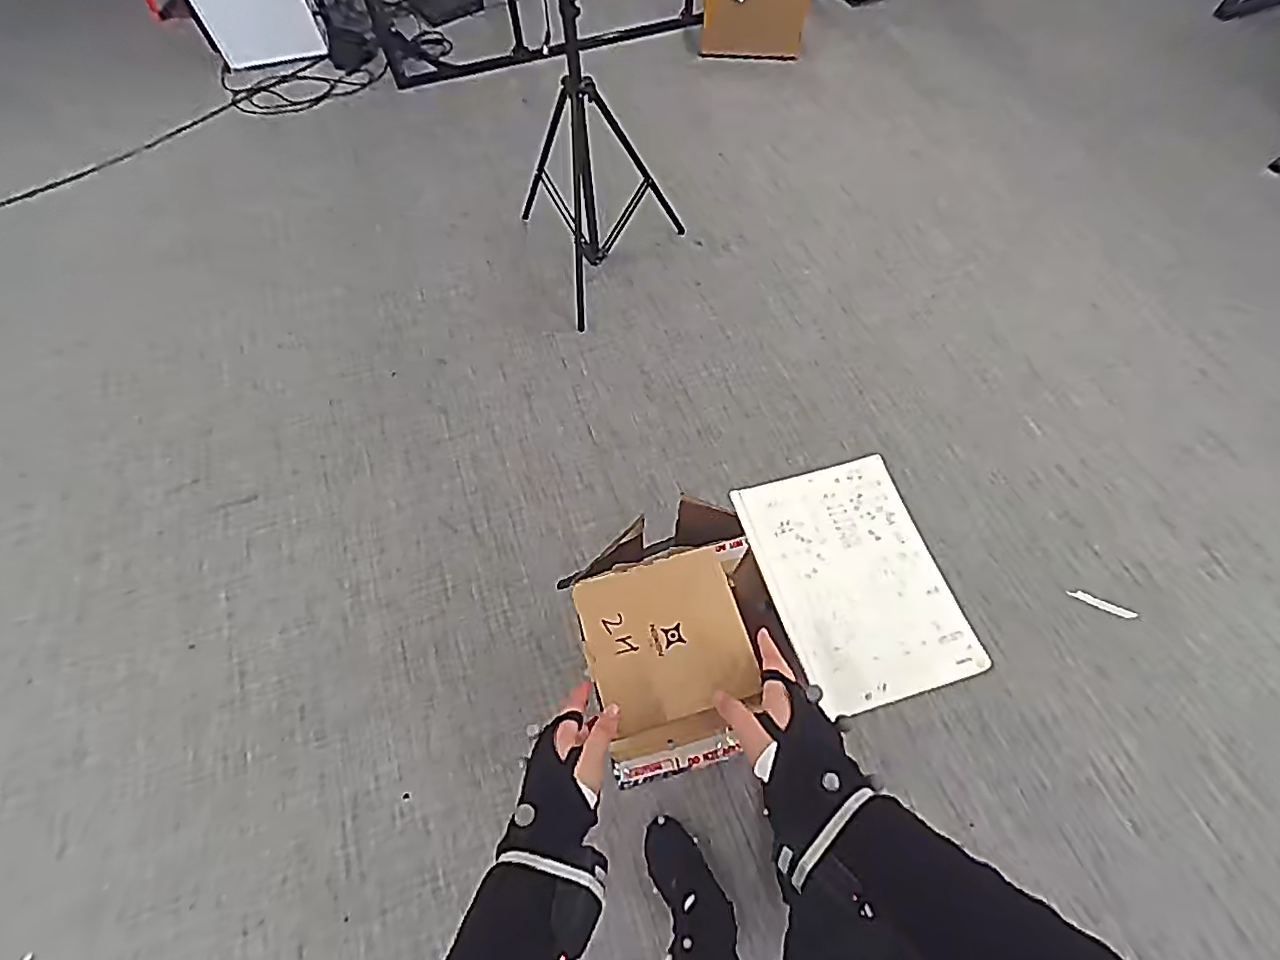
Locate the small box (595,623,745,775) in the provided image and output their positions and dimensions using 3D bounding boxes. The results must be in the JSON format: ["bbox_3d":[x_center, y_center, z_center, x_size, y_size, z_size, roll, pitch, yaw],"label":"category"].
[{"bbox_3d":[0.038,0.321,0.802,0.179,0.176,0.168,-12,66,-3],"label":"small box"}]

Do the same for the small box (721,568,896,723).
[{"bbox_3d":[0.244,0.258,0.831,0.179,0.176,0.168,-19,66,-9],"label":"small box"}]
